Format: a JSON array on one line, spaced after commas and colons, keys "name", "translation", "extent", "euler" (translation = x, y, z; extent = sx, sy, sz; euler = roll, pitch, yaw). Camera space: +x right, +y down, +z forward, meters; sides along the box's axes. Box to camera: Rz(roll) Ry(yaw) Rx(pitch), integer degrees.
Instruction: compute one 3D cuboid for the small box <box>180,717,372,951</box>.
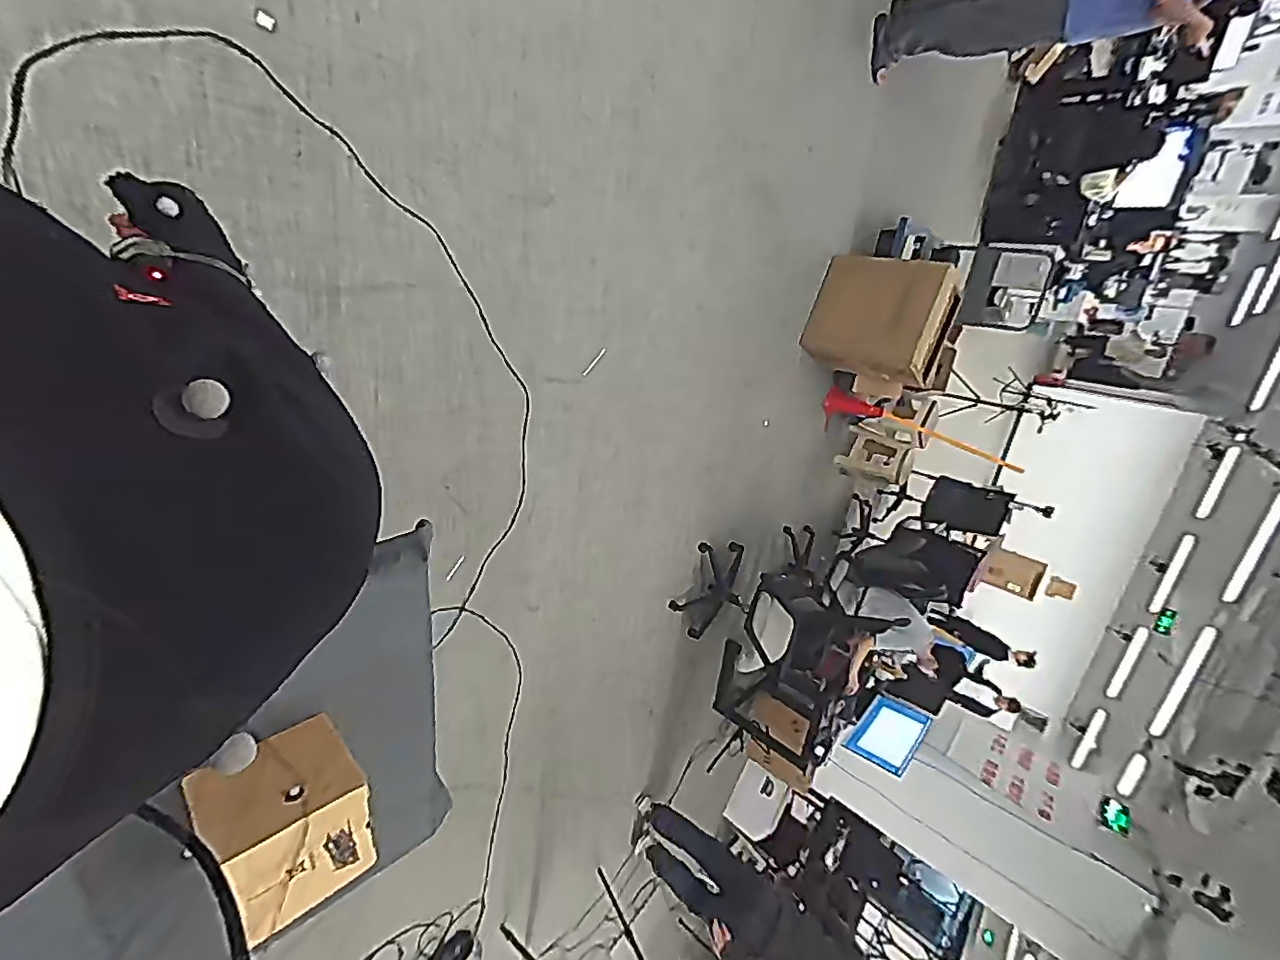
[{"name": "small box", "translation": [-0.504, 0.475, 0.758], "extent": [0.179, 0.176, 0.168], "euler": [-16, 120, -44]}]
